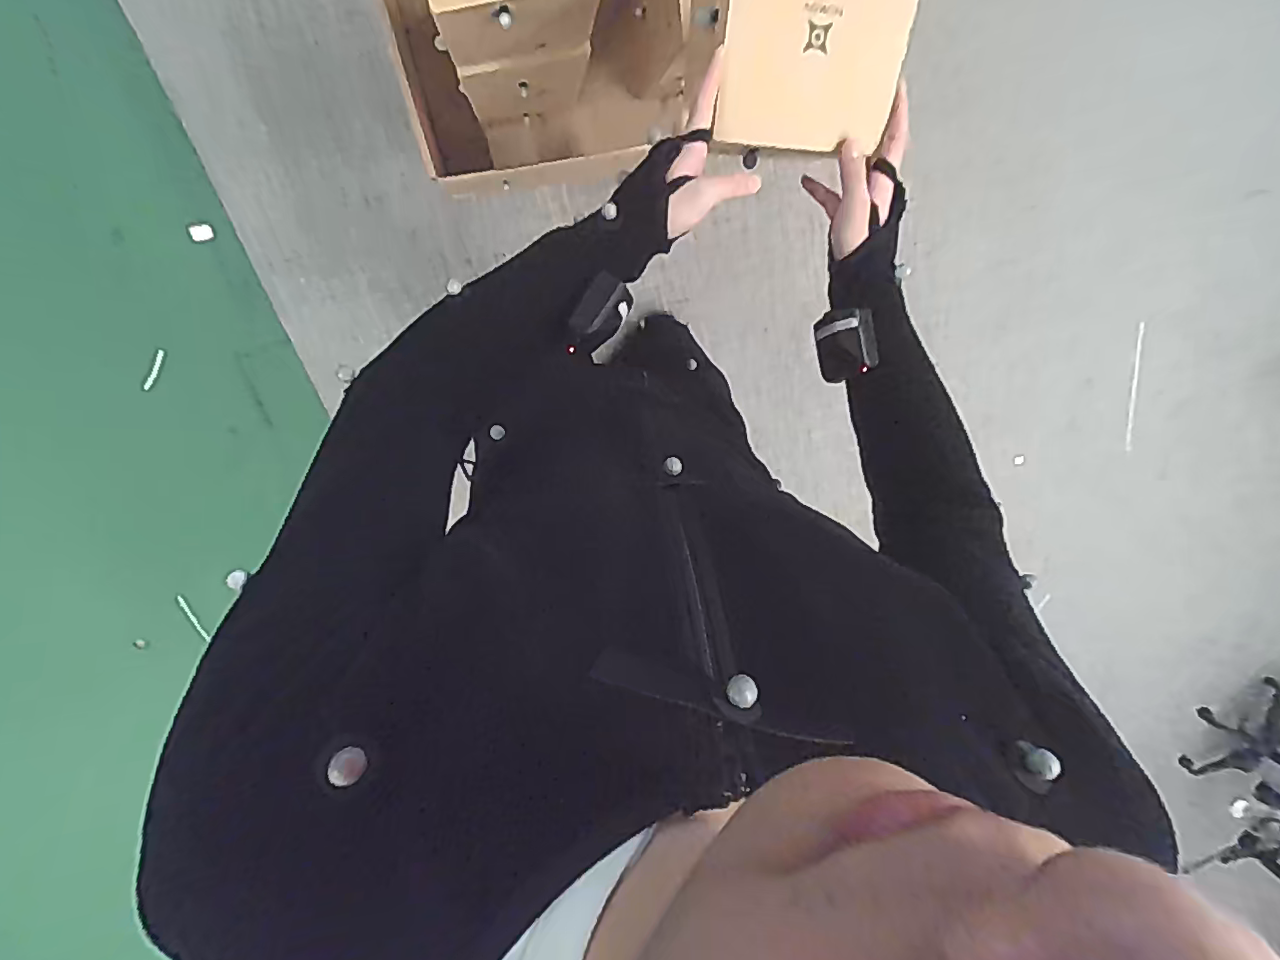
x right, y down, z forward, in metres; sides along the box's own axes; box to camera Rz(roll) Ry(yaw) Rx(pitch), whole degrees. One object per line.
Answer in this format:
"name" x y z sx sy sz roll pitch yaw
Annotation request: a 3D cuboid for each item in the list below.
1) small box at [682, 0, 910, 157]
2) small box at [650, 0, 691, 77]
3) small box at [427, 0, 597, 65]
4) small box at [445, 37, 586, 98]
"small box" 0.139 -0.425 0.530 0.168 0.176 0.179 0 118 -7
"small box" 0.107 -0.661 0.716 0.168 0.176 0.179 -10 113 -5
"small box" -0.144 -0.553 0.535 0.168 0.176 0.179 -14 115 -4
"small box" -0.170 -0.609 0.686 0.168 0.176 0.179 -14 116 -5
